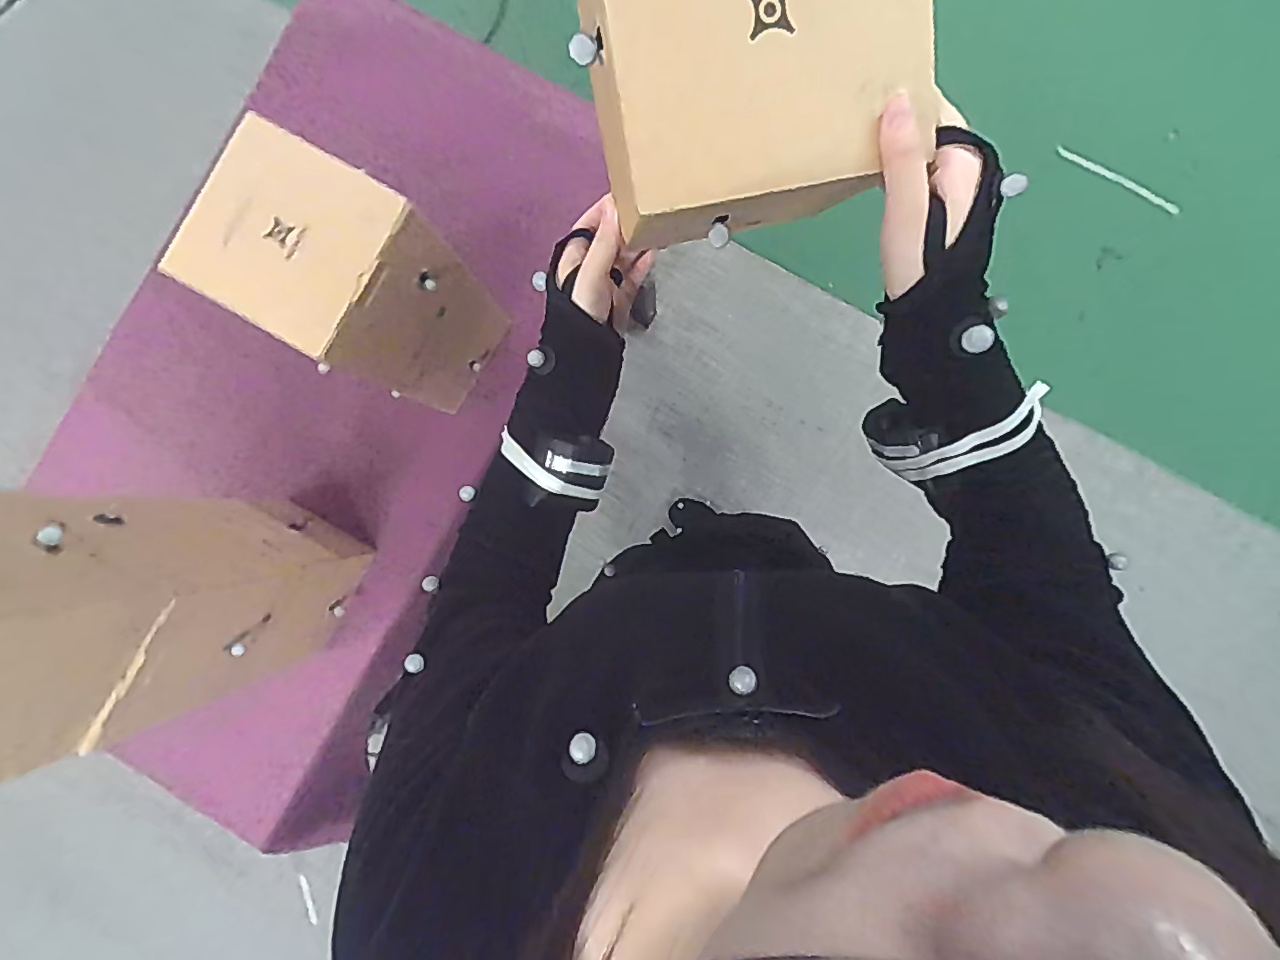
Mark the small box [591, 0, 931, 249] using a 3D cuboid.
[{"bbox_3d":[0.062,-0.257,0.350,0.168,0.176,0.179,-10,106,-1],"label":"small box"}]

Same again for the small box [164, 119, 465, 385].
[{"bbox_3d":[-0.315,-0.214,0.565,0.179,0.176,0.168,29,90,3],"label":"small box"}]

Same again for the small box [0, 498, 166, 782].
[{"bbox_3d":[-0.519,0.125,0.398,0.168,0.176,0.179,31,89,3],"label":"small box"}]

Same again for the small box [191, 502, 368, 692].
[{"bbox_3d":[-0.503,0.143,0.727,0.168,0.176,0.179,28,89,3],"label":"small box"}]
